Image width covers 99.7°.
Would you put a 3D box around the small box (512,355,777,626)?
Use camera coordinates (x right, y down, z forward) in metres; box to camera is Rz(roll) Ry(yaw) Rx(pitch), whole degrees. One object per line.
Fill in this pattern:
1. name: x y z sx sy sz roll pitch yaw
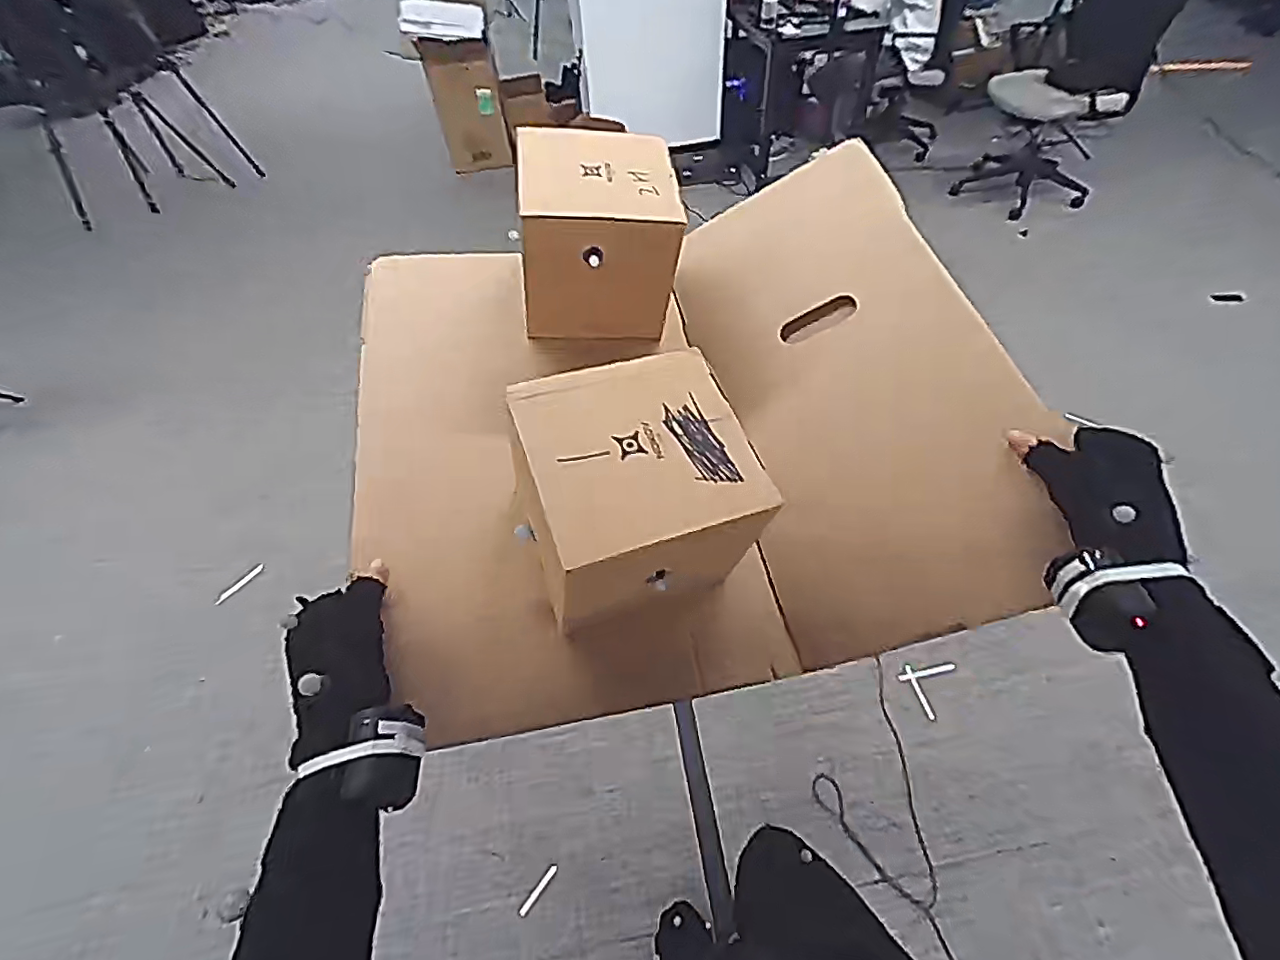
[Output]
1. small box: -0.009 0.015 0.500 0.179 0.176 0.168 -16 63 -16

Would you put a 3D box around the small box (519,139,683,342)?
1. small box: -0.055 -0.289 0.673 0.179 0.176 0.168 -2 60 -10
